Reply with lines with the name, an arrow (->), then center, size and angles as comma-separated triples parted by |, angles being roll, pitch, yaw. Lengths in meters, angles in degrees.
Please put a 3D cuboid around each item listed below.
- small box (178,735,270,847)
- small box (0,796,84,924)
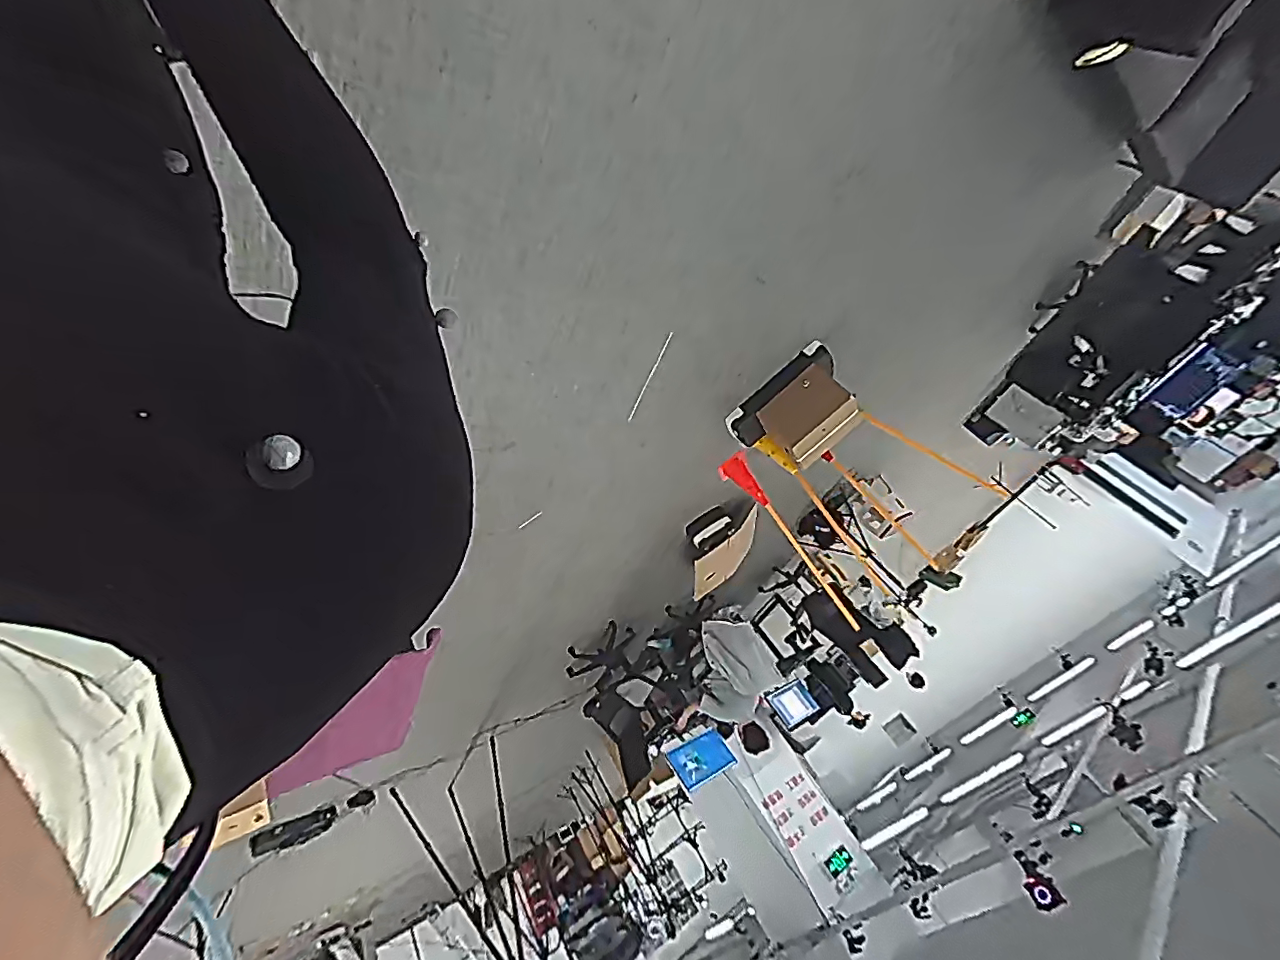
small box -> -1.089, 0.808, 1.415 | 0.179, 0.176, 0.168 | -9, 139, -38
small box -> -1.351, 0.839, 1.192 | 0.168, 0.176, 0.179 | -4, 136, -43
